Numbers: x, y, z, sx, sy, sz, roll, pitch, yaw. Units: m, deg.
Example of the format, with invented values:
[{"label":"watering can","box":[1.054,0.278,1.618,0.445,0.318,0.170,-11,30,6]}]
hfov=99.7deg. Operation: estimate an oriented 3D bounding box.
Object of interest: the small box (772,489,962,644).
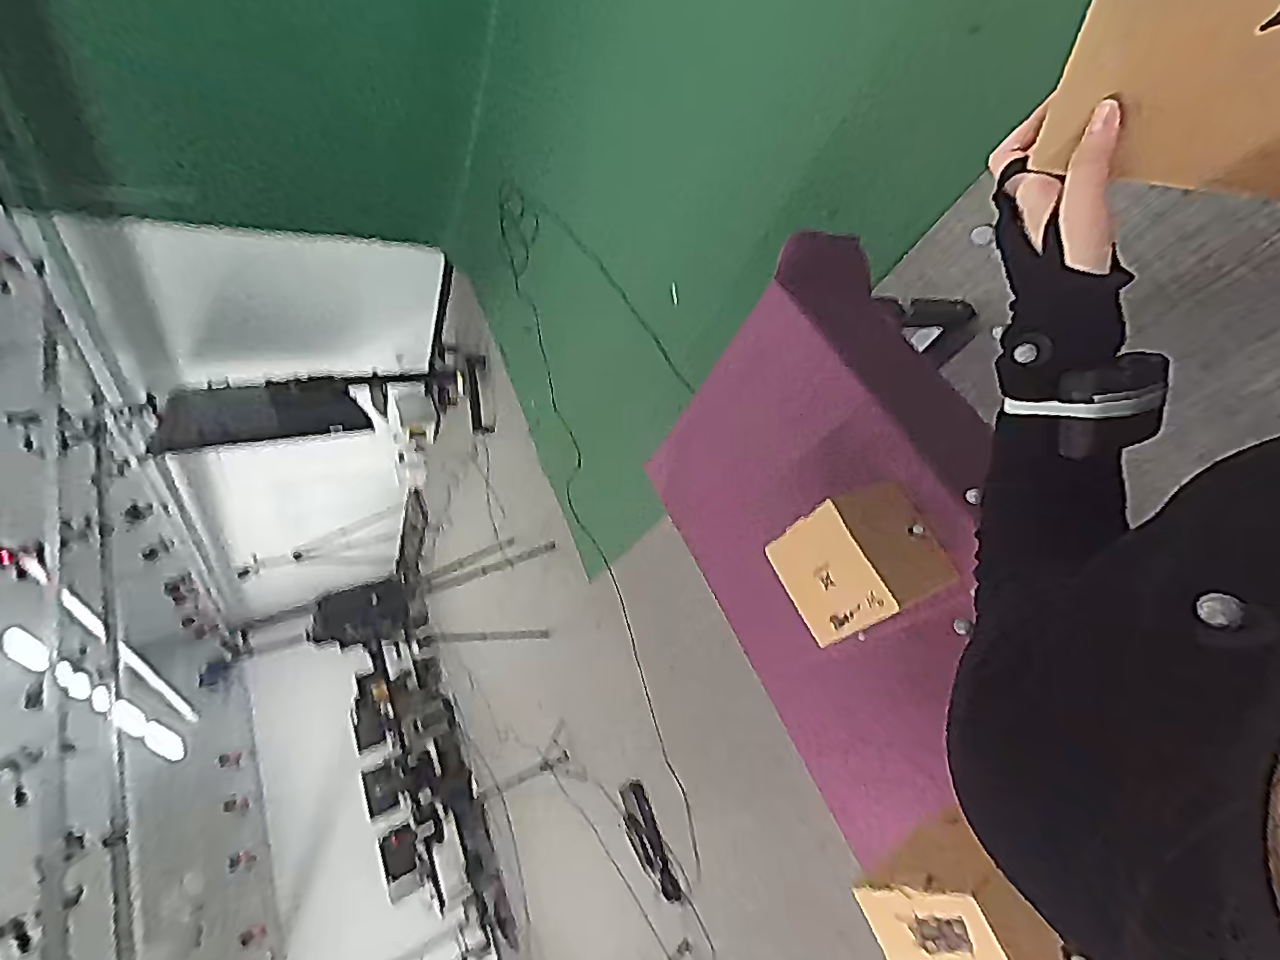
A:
[{"label":"small box","box":[0.349,0.127,0.844,0.179,0.176,0.168,64,144,22]}]

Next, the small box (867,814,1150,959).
[{"label":"small box","box":[0.396,0.489,0.586,0.179,0.176,0.168,63,143,21]}]
